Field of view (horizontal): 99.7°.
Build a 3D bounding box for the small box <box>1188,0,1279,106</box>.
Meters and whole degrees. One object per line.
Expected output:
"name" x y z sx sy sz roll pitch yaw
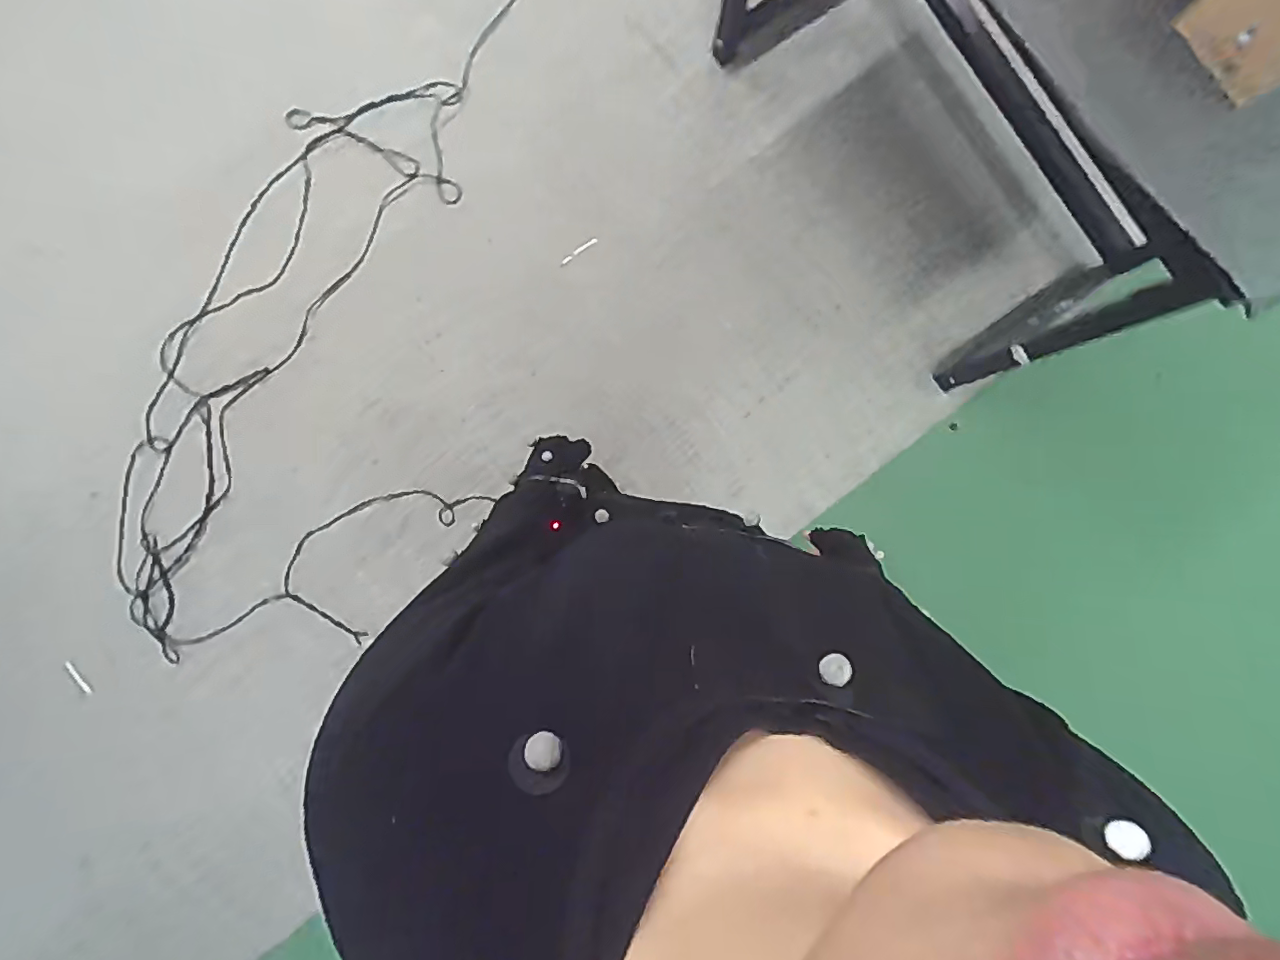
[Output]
"small box" 0.925 -0.668 0.729 0.179 0.176 0.168 -36 89 -3
